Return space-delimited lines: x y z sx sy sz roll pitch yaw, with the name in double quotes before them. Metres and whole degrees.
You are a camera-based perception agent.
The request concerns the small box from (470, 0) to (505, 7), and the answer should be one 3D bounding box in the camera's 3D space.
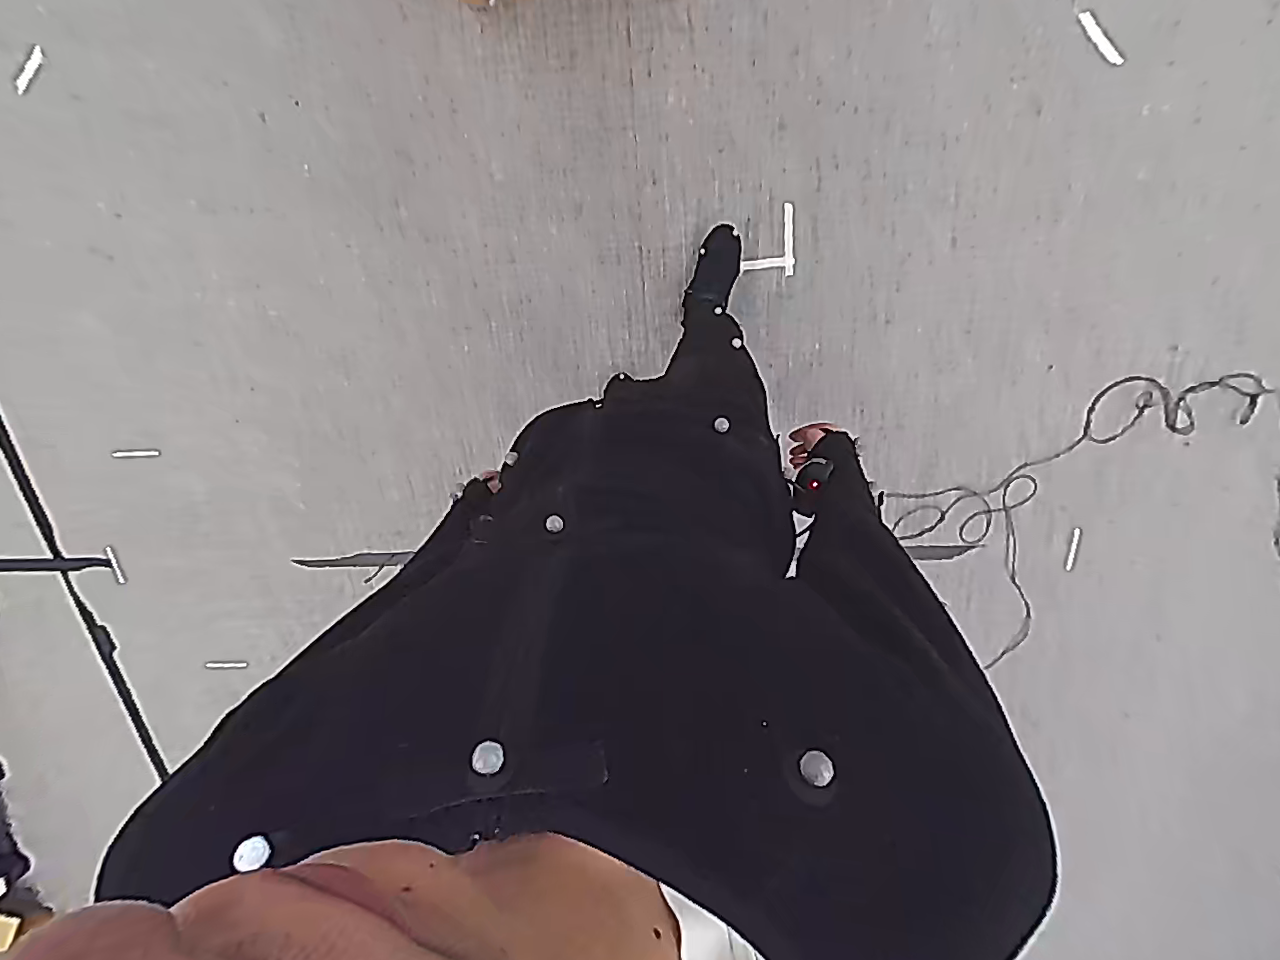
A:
"small box" -0.340 -1.184 1.170 0.168 0.176 0.179 -7 109 6
